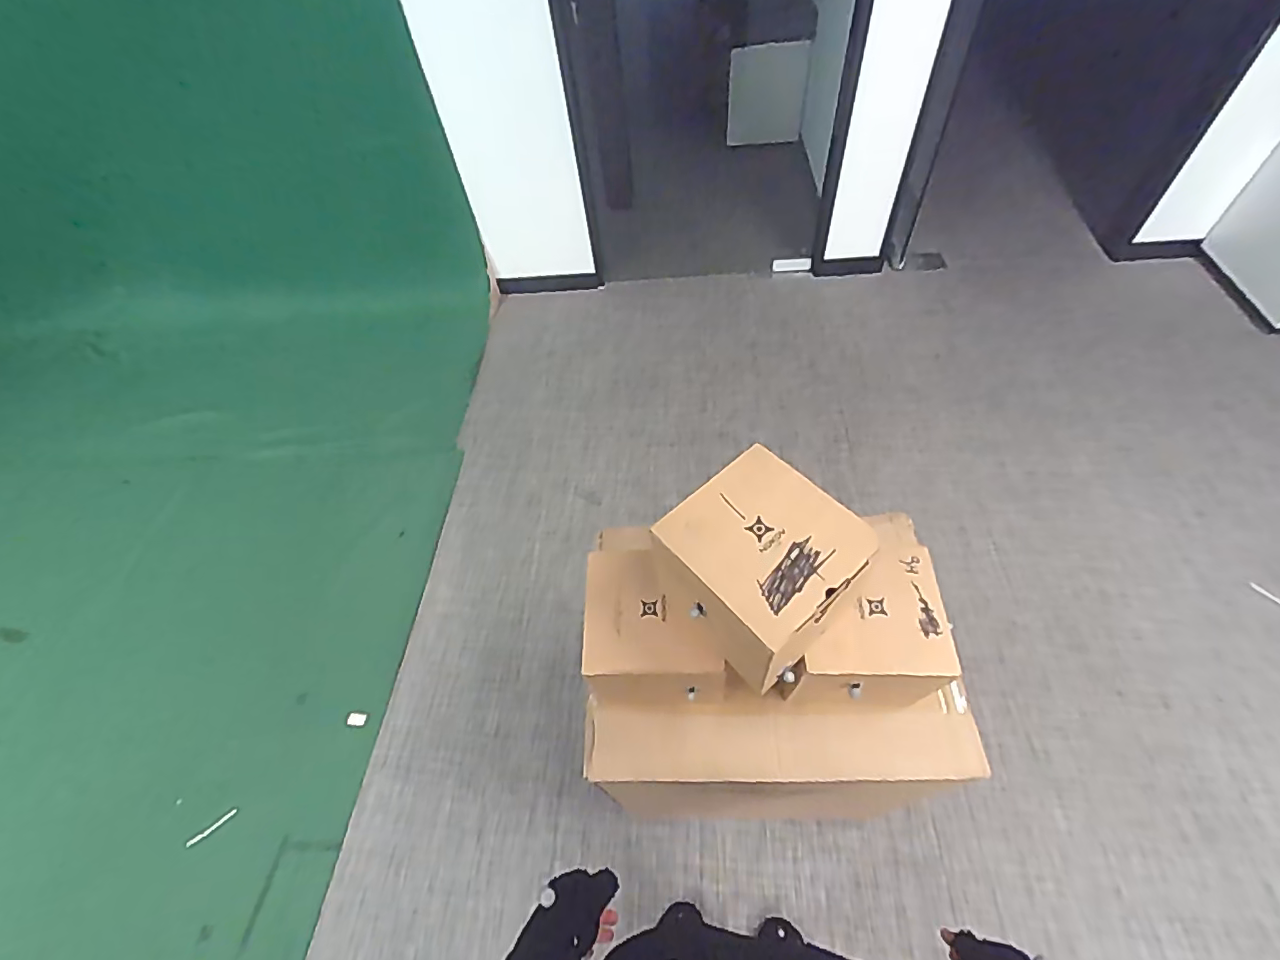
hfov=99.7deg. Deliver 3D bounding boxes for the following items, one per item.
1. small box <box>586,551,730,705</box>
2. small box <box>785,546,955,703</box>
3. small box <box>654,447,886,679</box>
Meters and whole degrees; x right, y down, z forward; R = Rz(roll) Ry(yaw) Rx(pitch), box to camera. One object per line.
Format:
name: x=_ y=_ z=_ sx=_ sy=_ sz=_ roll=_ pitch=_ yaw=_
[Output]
small box: x=0.028 y=0.210 z=0.757 sx=0.179 sy=0.176 sz=0.168 roll=-4 pitch=55 yaw=5
small box: x=0.288 y=0.200 z=0.735 sx=0.179 sy=0.176 sz=0.168 roll=-2 pitch=57 yaw=6
small box: x=0.138 y=0.102 z=0.618 sx=0.168 sy=0.176 sz=0.179 roll=-37 pitch=59 yaw=-17
